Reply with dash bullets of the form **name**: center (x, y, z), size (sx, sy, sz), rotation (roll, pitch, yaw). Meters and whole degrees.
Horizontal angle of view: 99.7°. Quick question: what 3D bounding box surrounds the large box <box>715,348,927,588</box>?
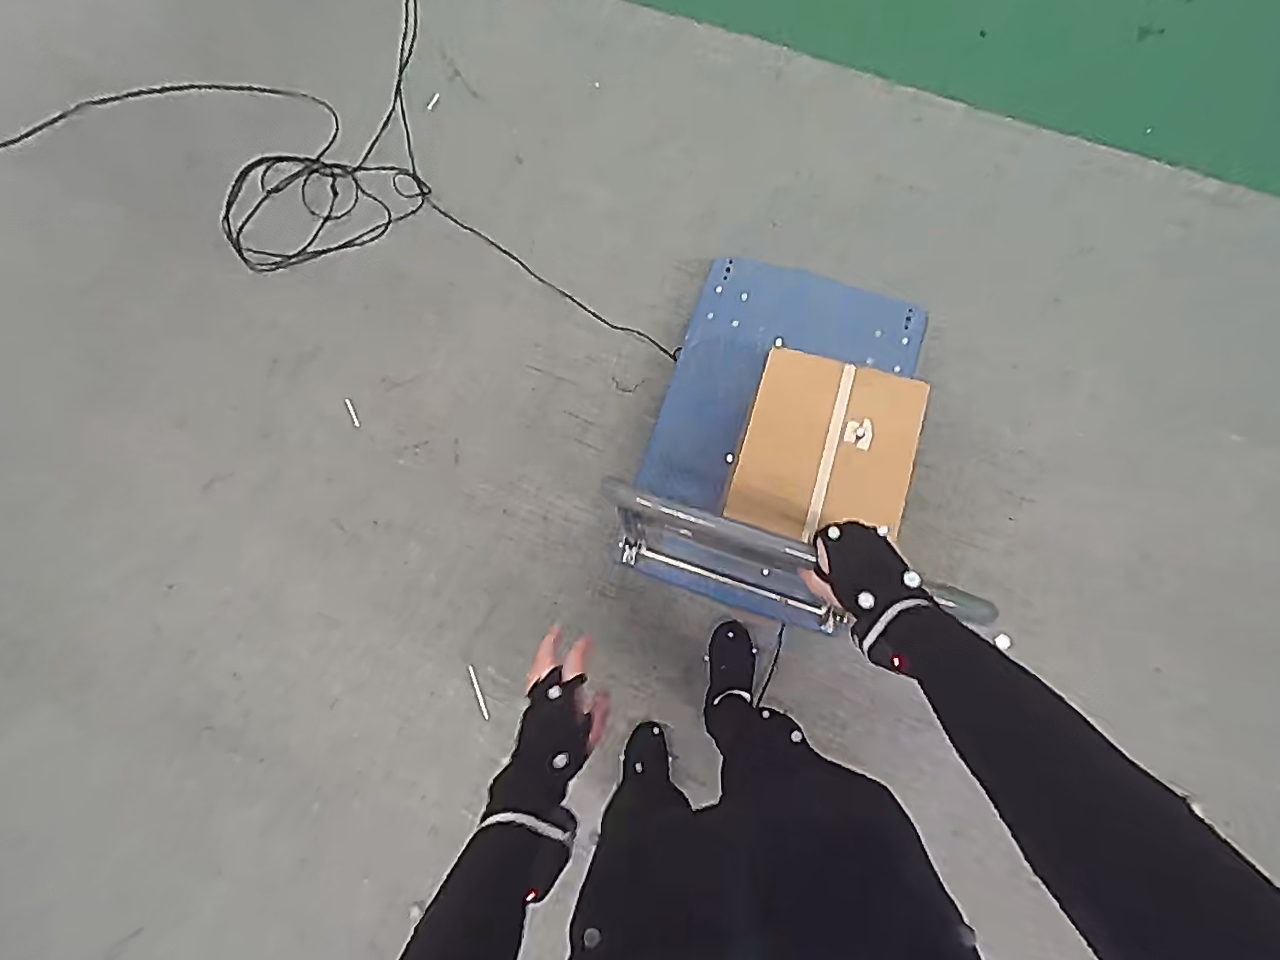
- **large box**: center (0.364, -0.006, 1.166), size (0.320, 0.320, 0.408), rotation (17, 78, 7)
